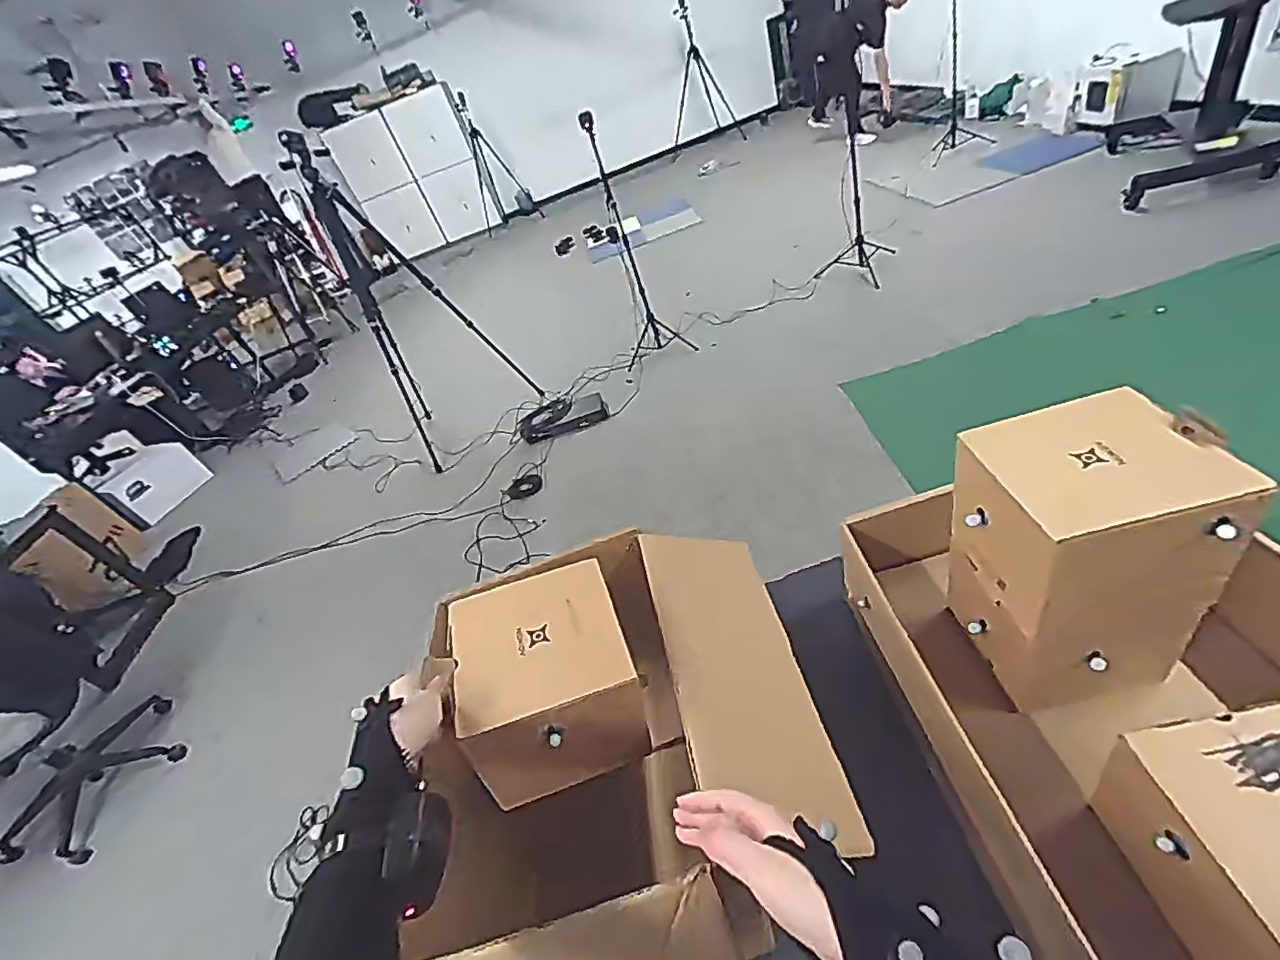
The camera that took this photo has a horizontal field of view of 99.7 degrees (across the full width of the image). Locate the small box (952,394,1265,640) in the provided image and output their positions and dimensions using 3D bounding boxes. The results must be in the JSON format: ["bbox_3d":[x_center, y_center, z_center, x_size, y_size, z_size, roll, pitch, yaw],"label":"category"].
[{"bbox_3d":[0.453,0.043,0.564,0.179,0.176,0.168,-16,39,8],"label":"small box"}]
